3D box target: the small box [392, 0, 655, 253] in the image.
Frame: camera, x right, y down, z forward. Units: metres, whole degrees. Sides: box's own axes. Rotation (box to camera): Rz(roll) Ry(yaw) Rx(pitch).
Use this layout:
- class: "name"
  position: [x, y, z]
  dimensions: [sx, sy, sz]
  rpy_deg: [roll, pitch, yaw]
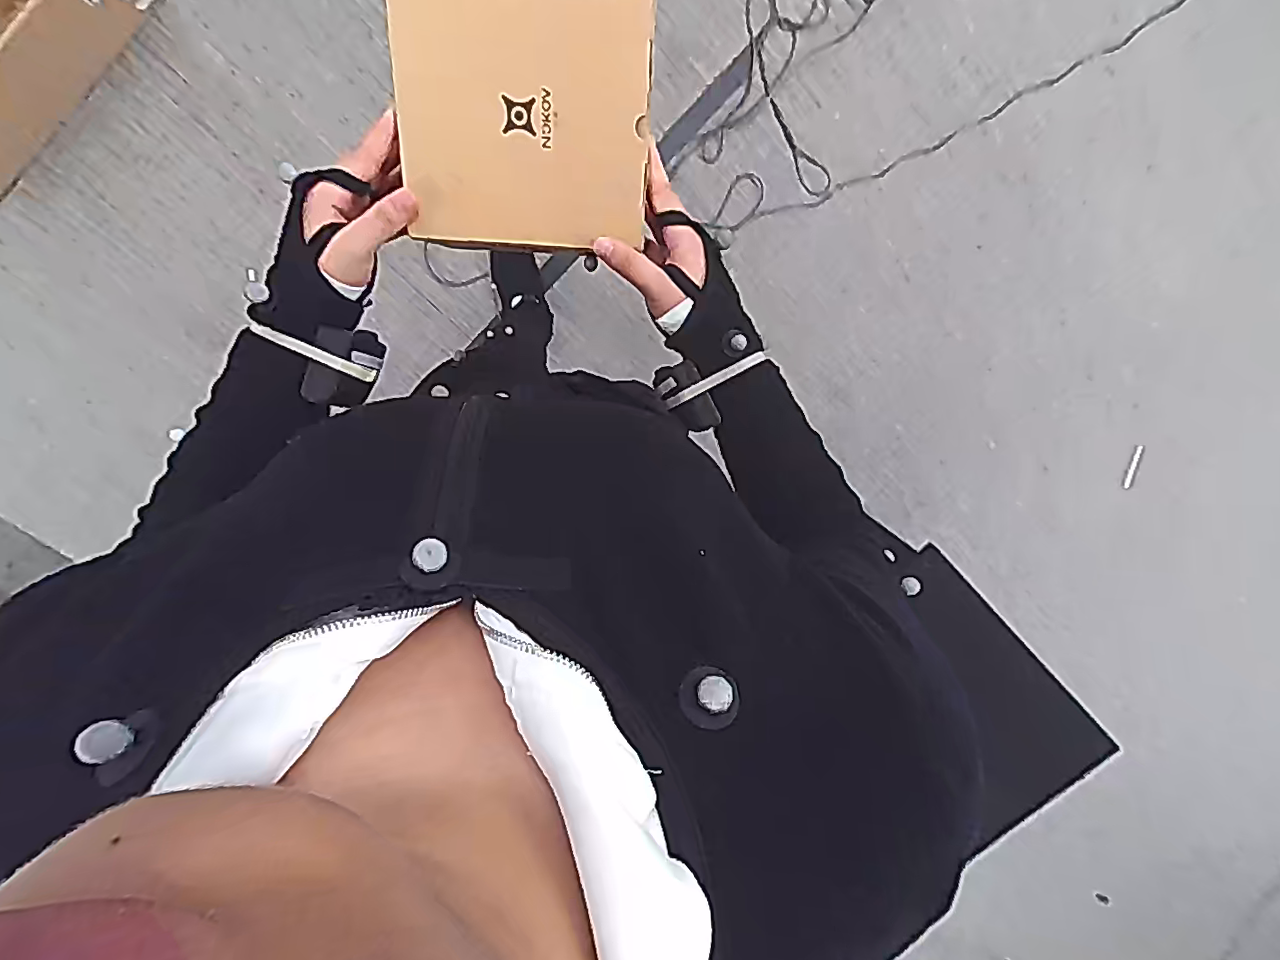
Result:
- class: "small box"
  position: [-0.089, -0.288, 0.456]
  dimensions: [0.179, 0.176, 0.168]
  rpy_deg: [1, 110, -8]
